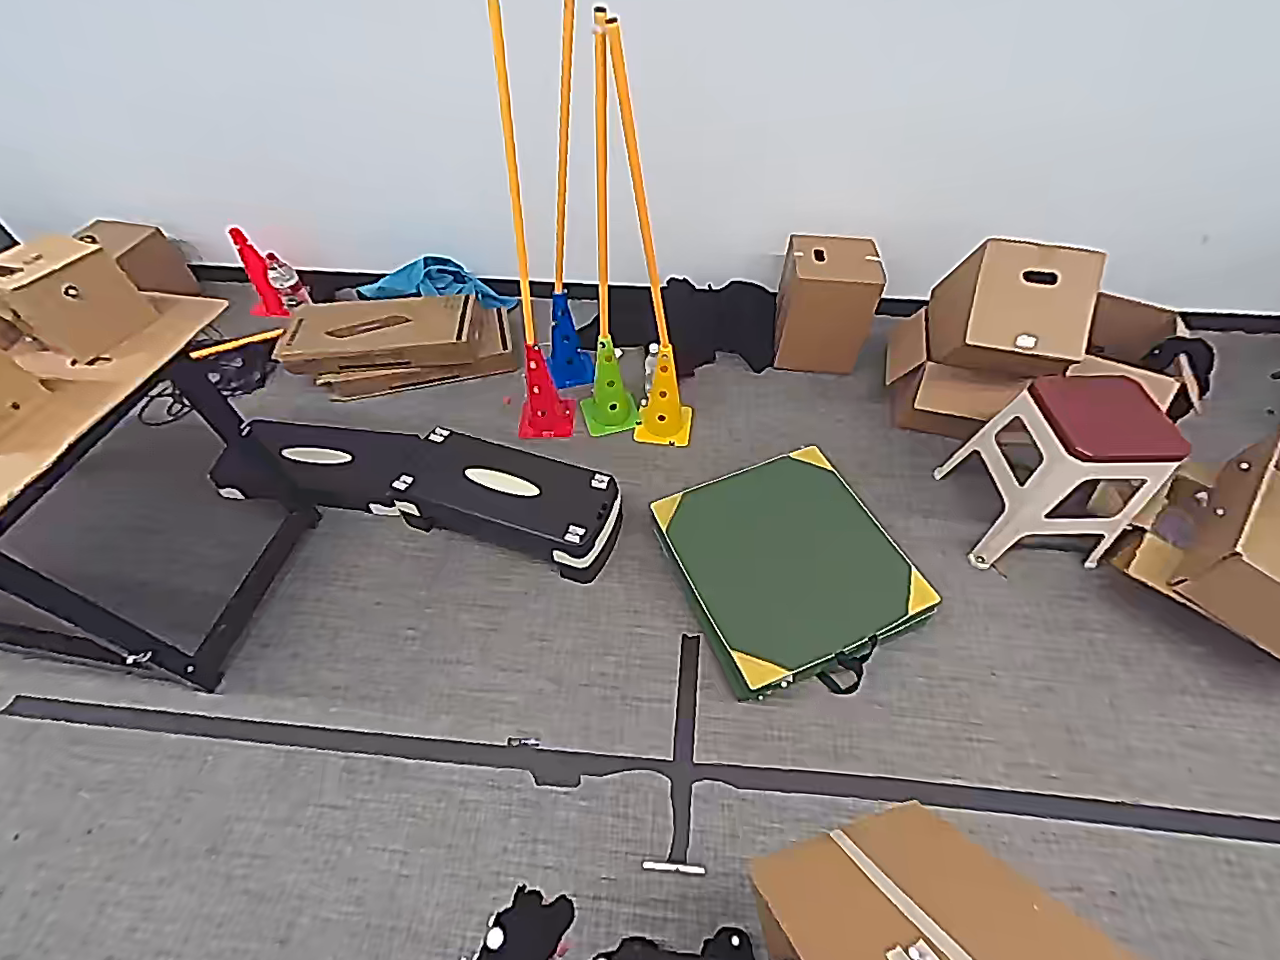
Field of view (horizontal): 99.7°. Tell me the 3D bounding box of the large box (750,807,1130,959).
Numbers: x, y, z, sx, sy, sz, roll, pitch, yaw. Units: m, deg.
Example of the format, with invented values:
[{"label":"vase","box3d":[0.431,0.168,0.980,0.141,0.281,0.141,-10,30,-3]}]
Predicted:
[{"label":"large box","box3d":[0.384,0.703,0.677,0.320,0.408,0.320,-14,86,-11]}]
